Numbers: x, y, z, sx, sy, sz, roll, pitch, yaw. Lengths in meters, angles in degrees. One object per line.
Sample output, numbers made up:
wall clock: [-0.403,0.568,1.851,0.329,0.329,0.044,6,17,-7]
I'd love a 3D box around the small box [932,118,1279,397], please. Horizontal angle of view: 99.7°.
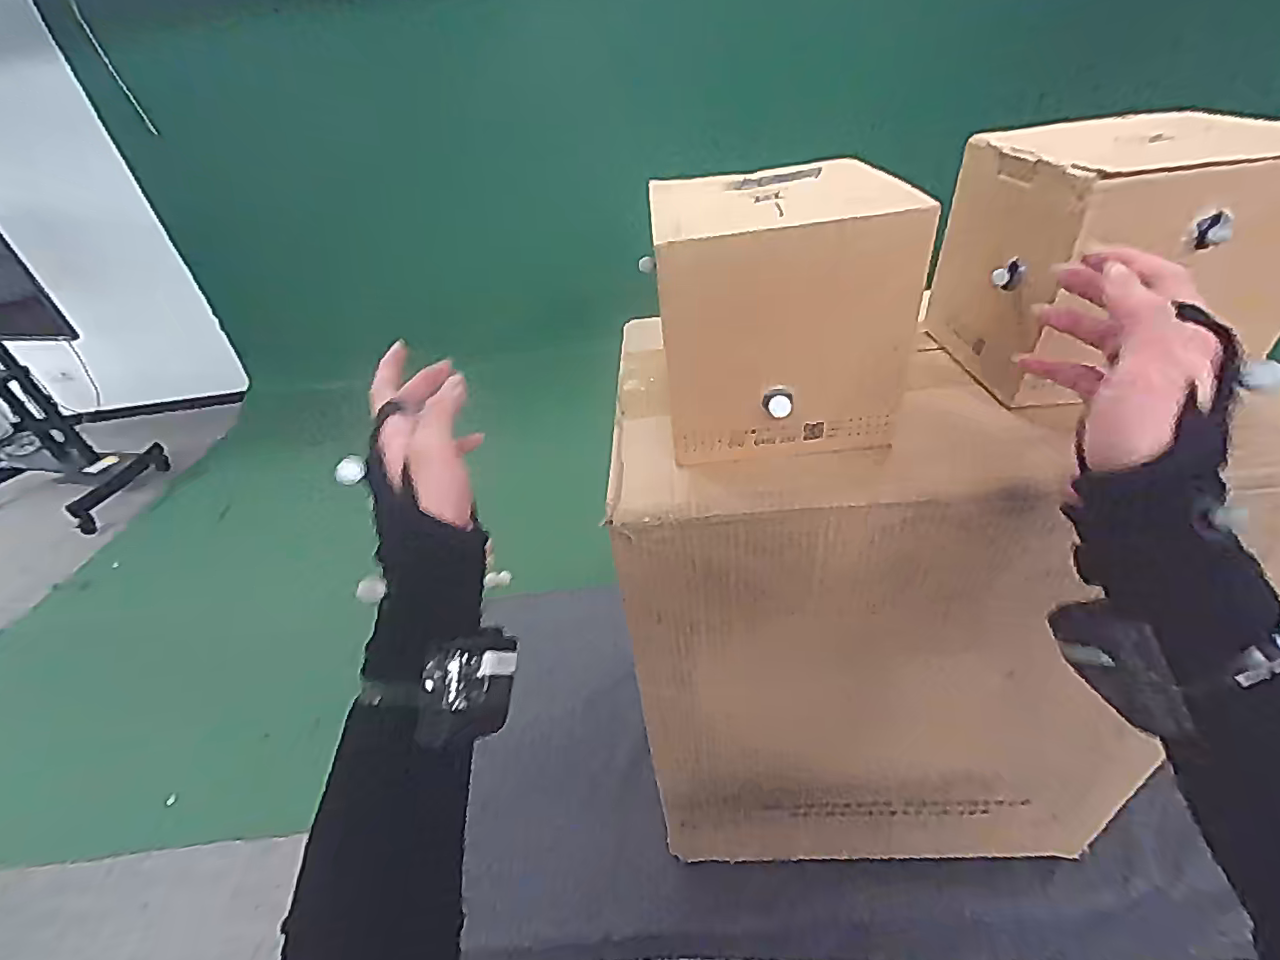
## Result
small box: [0.363,-0.178,0.437,0.179,0.176,0.168,-3,39,2]

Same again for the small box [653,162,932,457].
small box: [0.100,-0.138,0.433,0.168,0.176,0.179,-5,38,5]
